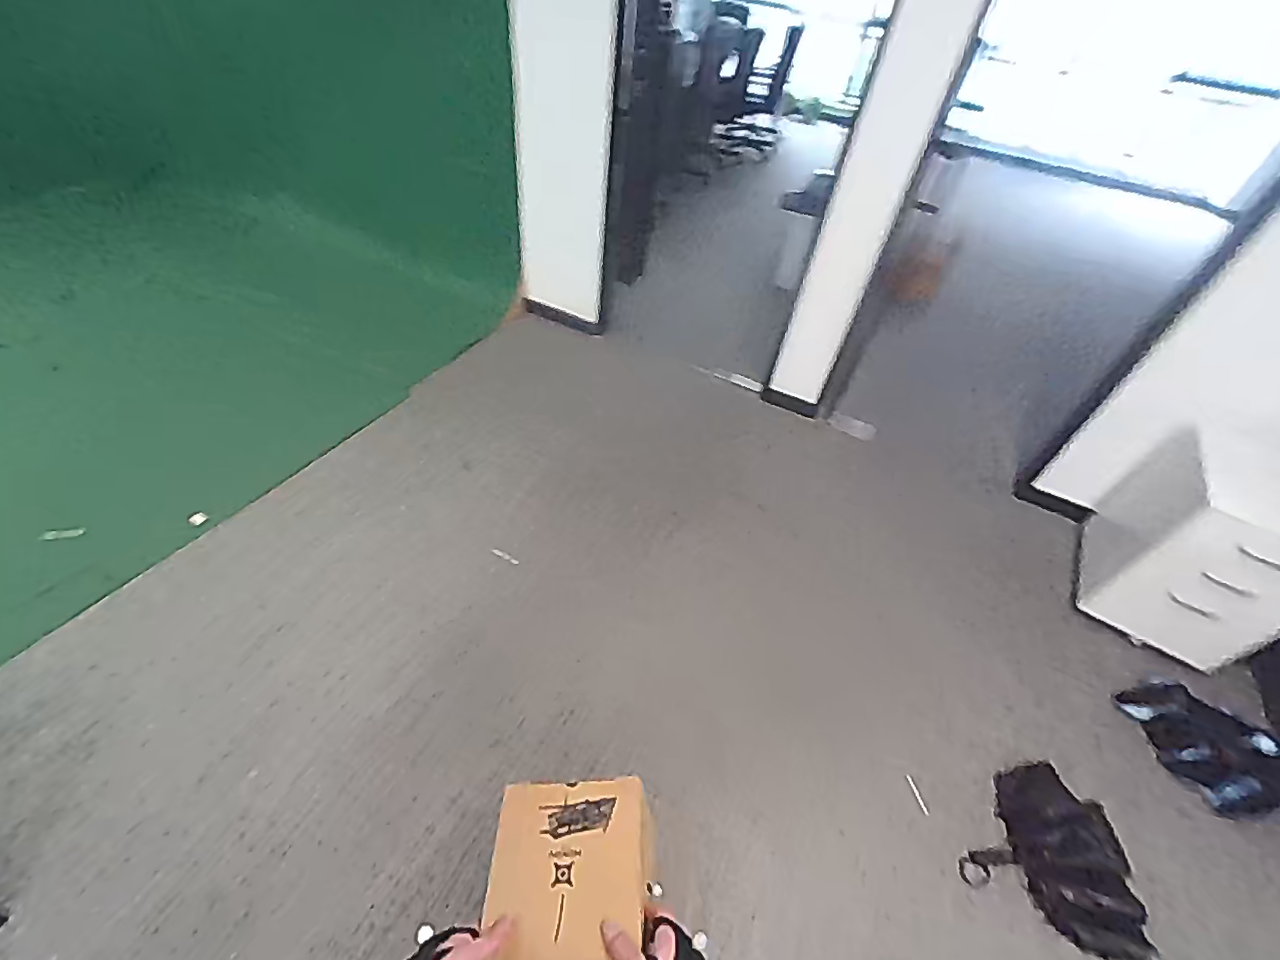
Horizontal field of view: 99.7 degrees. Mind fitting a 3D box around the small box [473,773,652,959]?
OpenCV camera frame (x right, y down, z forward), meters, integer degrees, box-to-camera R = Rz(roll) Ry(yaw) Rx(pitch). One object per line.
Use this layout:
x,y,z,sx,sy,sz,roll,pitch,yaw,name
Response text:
-0.077,0.476,0.638,0.168,0.176,0.179,-6,39,3,small box
